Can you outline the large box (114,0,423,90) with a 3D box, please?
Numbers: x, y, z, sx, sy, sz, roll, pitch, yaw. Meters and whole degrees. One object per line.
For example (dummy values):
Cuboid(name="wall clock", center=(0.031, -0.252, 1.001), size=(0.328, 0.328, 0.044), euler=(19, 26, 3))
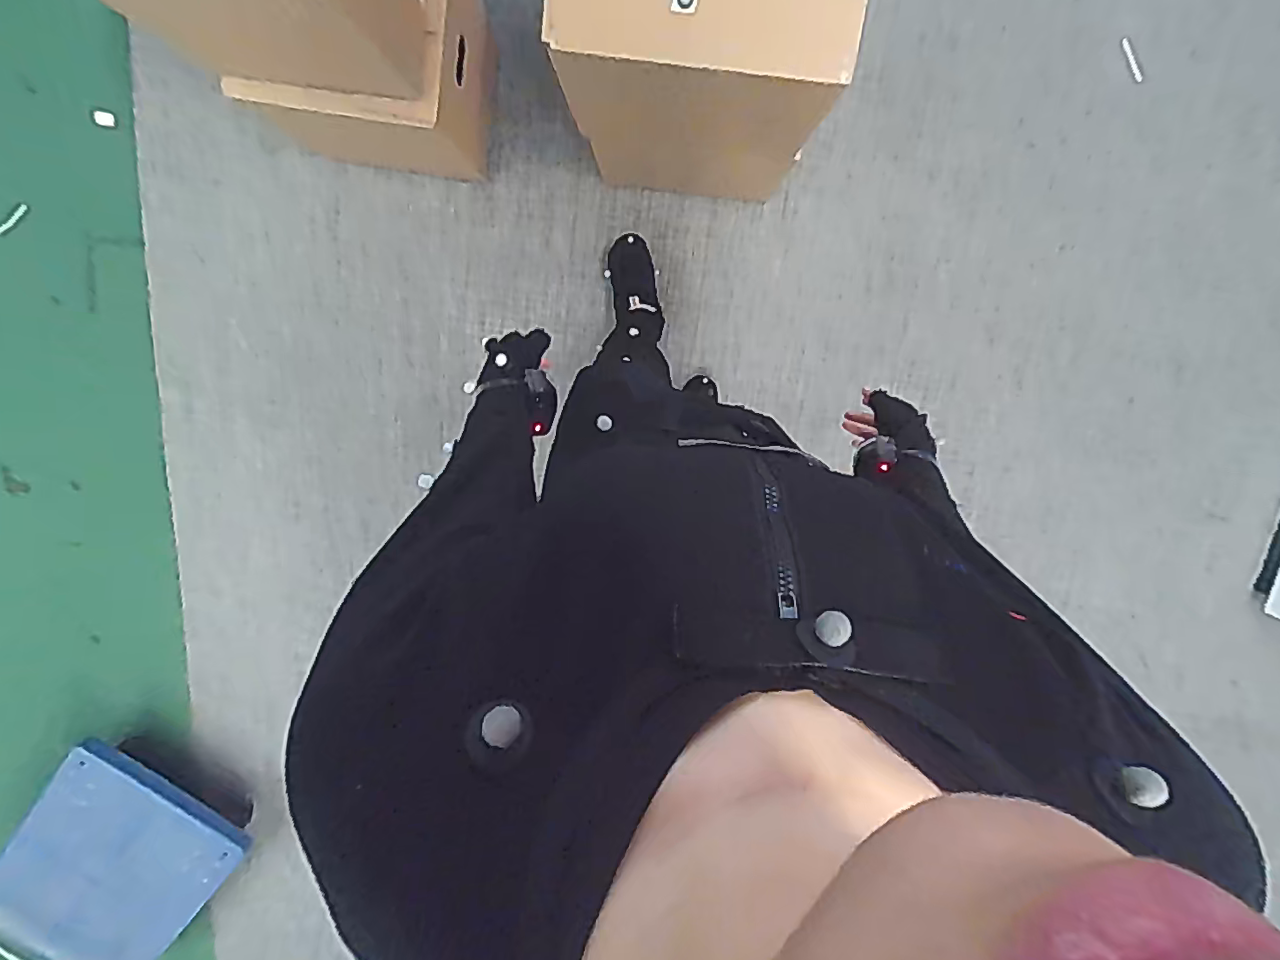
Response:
Cuboid(name="large box", center=(-0.581, -0.848, 0.807), size=(0.408, 0.320, 0.320), euler=(8, 101, 0))
